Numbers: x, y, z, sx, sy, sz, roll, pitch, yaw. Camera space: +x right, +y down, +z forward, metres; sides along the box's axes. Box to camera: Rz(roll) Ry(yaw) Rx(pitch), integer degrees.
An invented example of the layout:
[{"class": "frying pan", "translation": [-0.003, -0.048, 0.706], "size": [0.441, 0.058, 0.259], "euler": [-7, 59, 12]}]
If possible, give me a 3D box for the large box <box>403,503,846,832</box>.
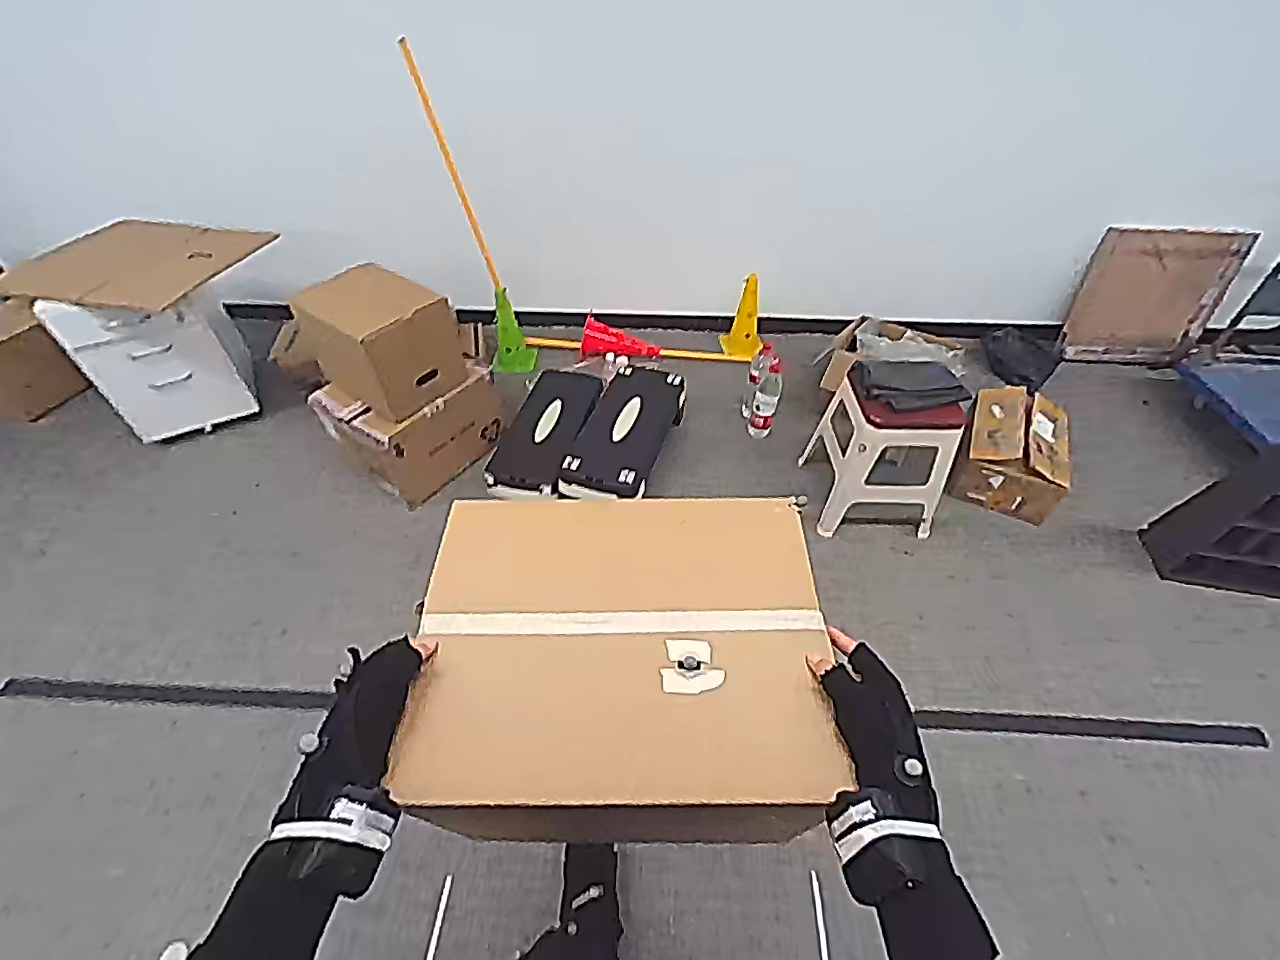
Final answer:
[{"class": "large box", "translation": [-0.016, 0.243, 0.685], "size": [0.408, 0.320, 0.320], "euler": [0, 52, 0]}]
